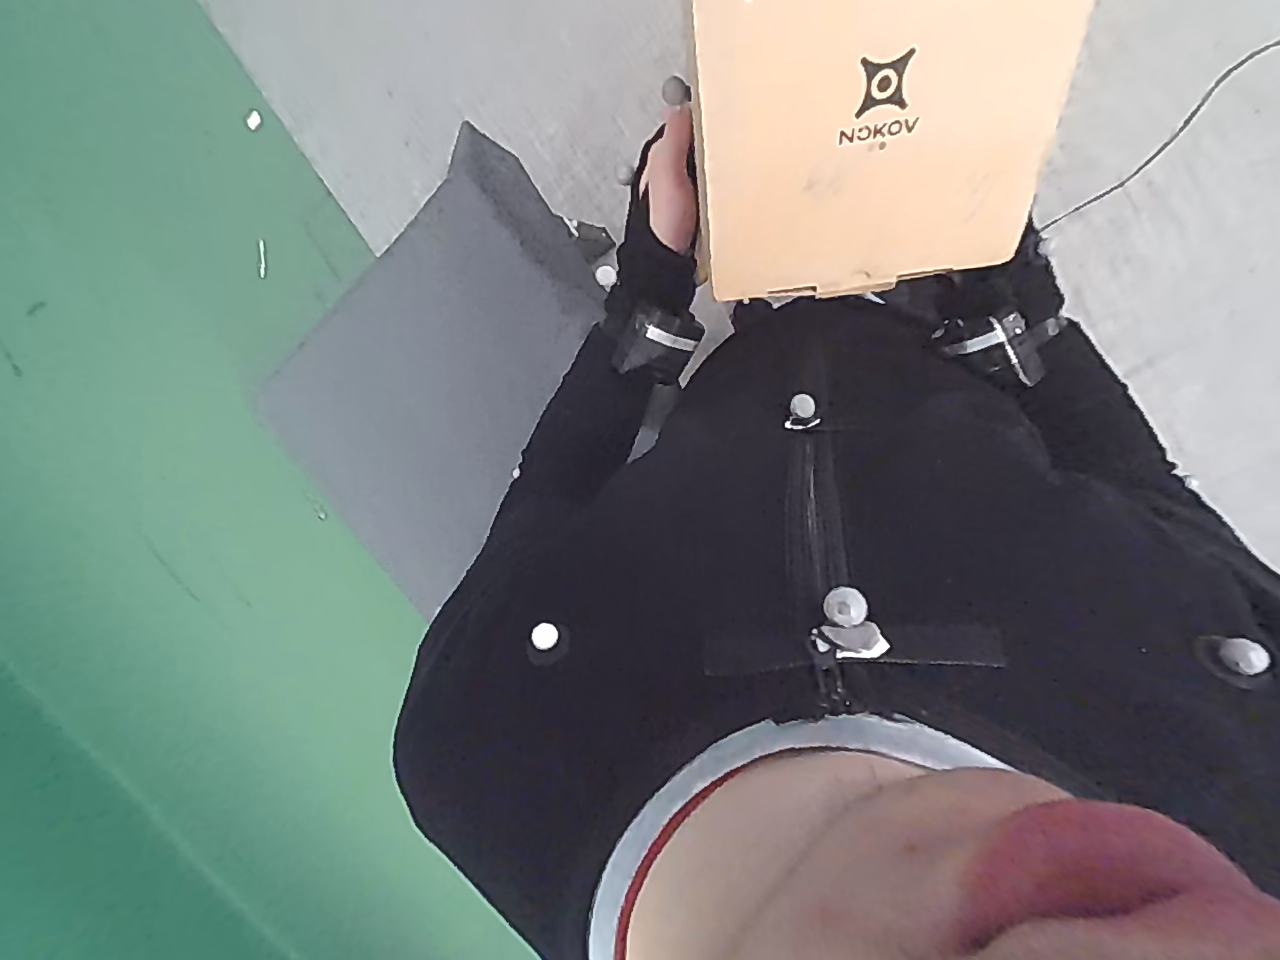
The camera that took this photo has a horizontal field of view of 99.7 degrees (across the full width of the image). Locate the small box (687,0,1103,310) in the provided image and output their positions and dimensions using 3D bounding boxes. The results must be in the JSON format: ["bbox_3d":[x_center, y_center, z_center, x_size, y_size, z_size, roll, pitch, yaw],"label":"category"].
[{"bbox_3d":[0.116,-0.226,0.311,0.168,0.176,0.179,-6,135,7],"label":"small box"}]
